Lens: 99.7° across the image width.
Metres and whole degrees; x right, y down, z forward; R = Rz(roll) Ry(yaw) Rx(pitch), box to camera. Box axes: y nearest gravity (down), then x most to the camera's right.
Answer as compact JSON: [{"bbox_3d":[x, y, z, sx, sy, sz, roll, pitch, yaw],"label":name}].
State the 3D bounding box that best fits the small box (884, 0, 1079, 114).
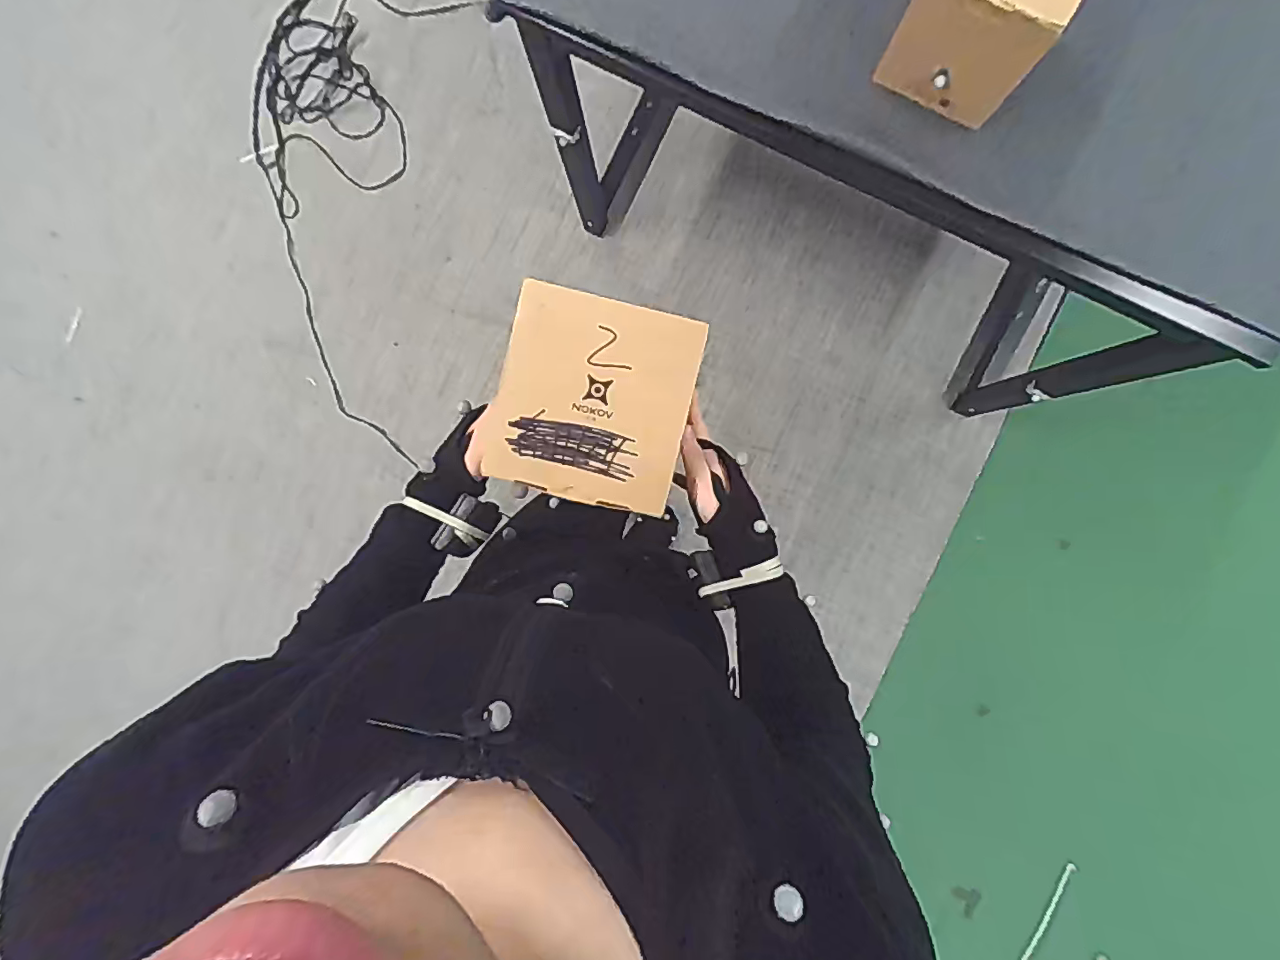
[{"bbox_3d":[0.434,-0.609,0.662,0.168,0.176,0.179,28,91,3],"label":"small box"}]
